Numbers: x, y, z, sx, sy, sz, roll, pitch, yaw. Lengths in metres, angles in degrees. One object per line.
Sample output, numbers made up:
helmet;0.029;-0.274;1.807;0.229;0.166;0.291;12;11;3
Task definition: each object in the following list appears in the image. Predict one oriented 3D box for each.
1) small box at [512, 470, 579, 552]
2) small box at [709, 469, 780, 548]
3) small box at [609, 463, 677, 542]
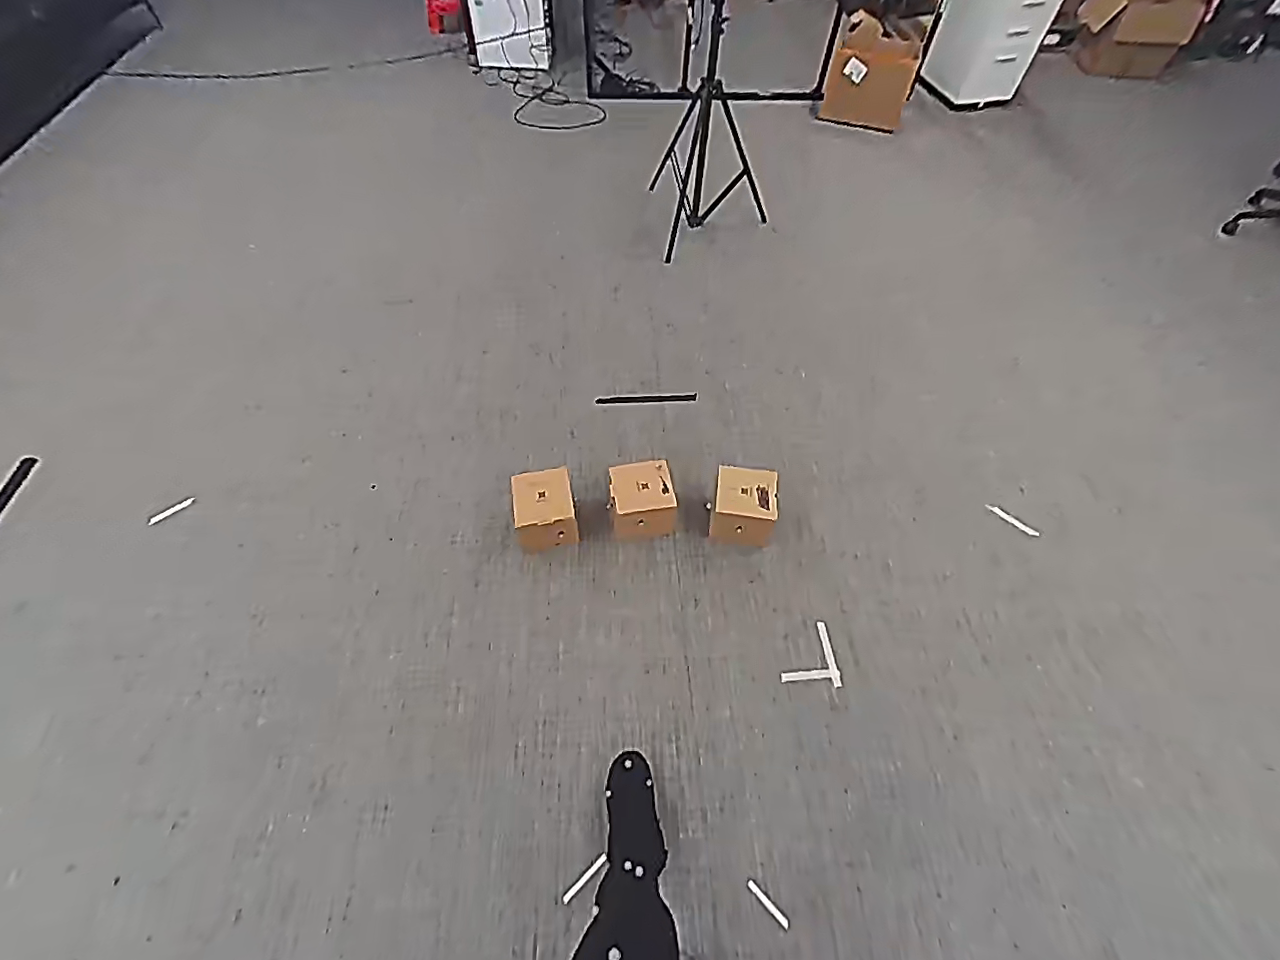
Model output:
small box;-0.275;0.098;1.590;0.168;0.176;0.179;-9;56;-9
small box;0.310;0.089;1.614;0.179;0.176;0.168;8;56;4
small box;0.007;0.071;1.615;0.179;0.176;0.168;-8;57;-6
